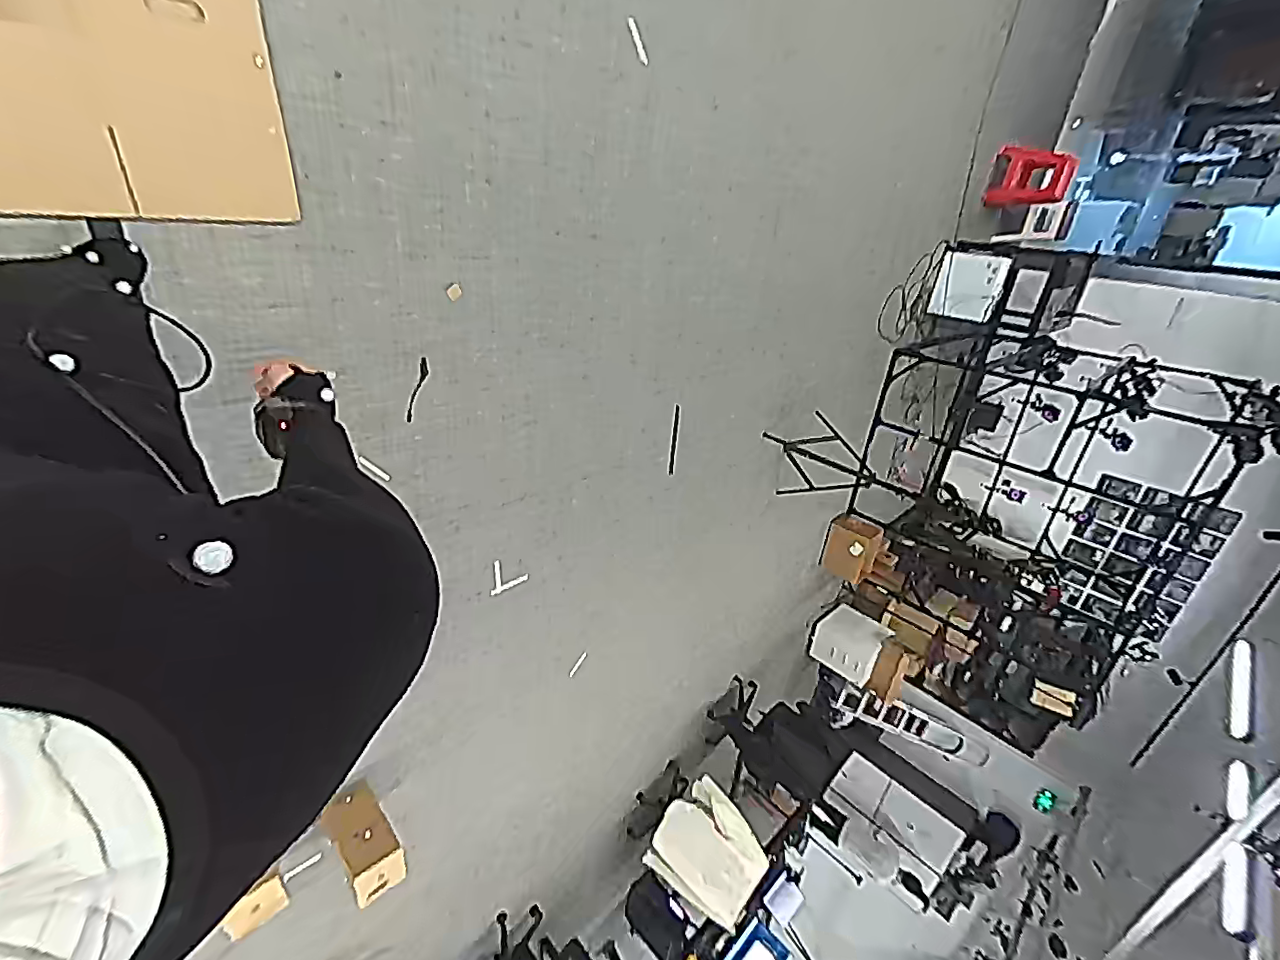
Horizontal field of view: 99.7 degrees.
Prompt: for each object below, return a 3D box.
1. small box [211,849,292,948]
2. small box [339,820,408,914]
[{"bbox_3d":[-1.294,1.378,1.798,0.168,0.176,0.179,-22,127,-39],"label":"small box"},{"bbox_3d":[-0.942,1.360,1.912,0.168,0.176,0.179,-18,123,-42],"label":"small box"}]
